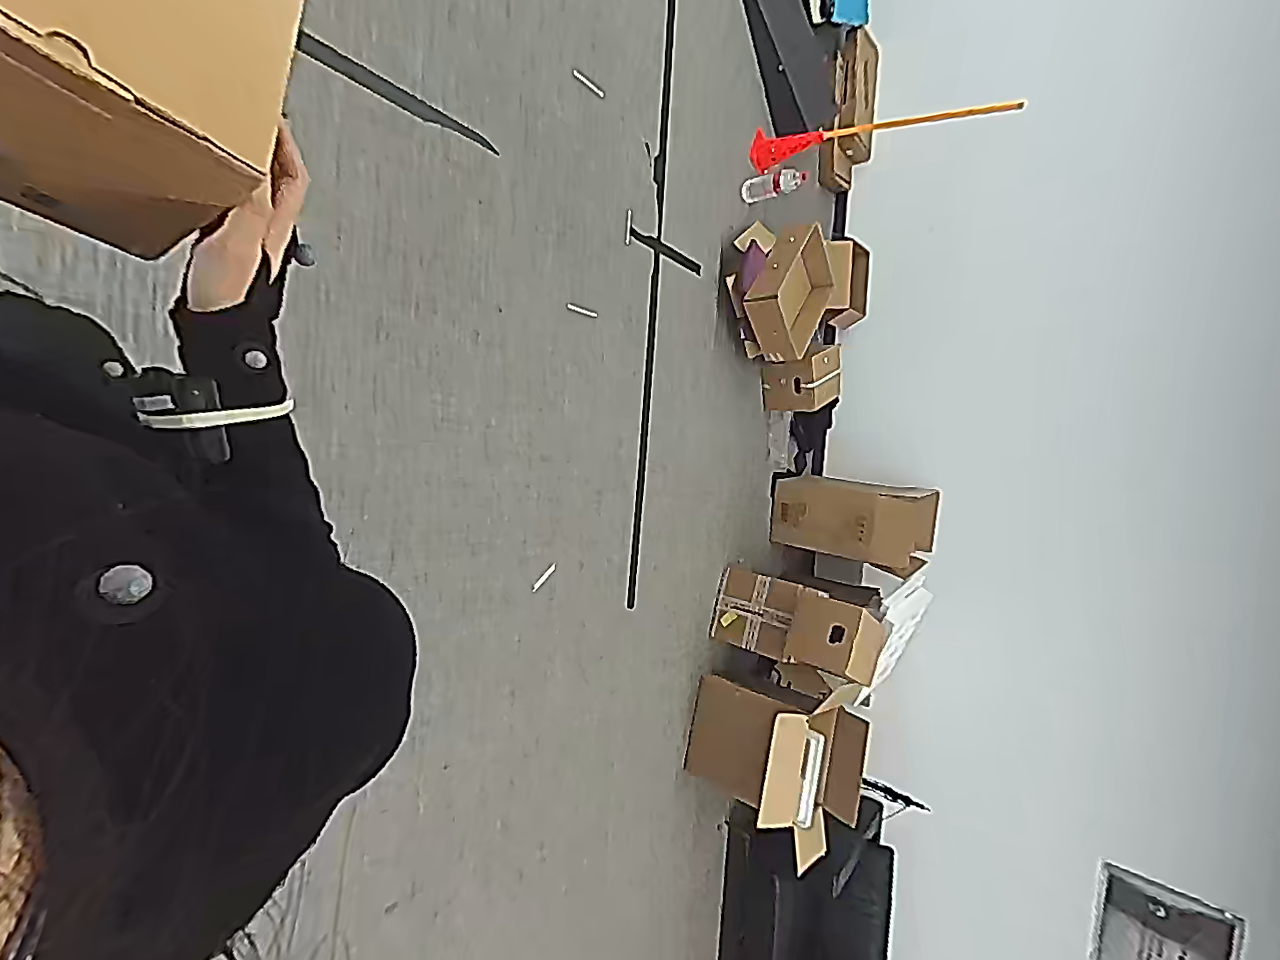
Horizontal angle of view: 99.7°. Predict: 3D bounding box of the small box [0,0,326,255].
[{"bbox_3d":[-0.309,-0.261,0.299,0.168,0.176,0.179,20,69,-57],"label":"small box"}]
